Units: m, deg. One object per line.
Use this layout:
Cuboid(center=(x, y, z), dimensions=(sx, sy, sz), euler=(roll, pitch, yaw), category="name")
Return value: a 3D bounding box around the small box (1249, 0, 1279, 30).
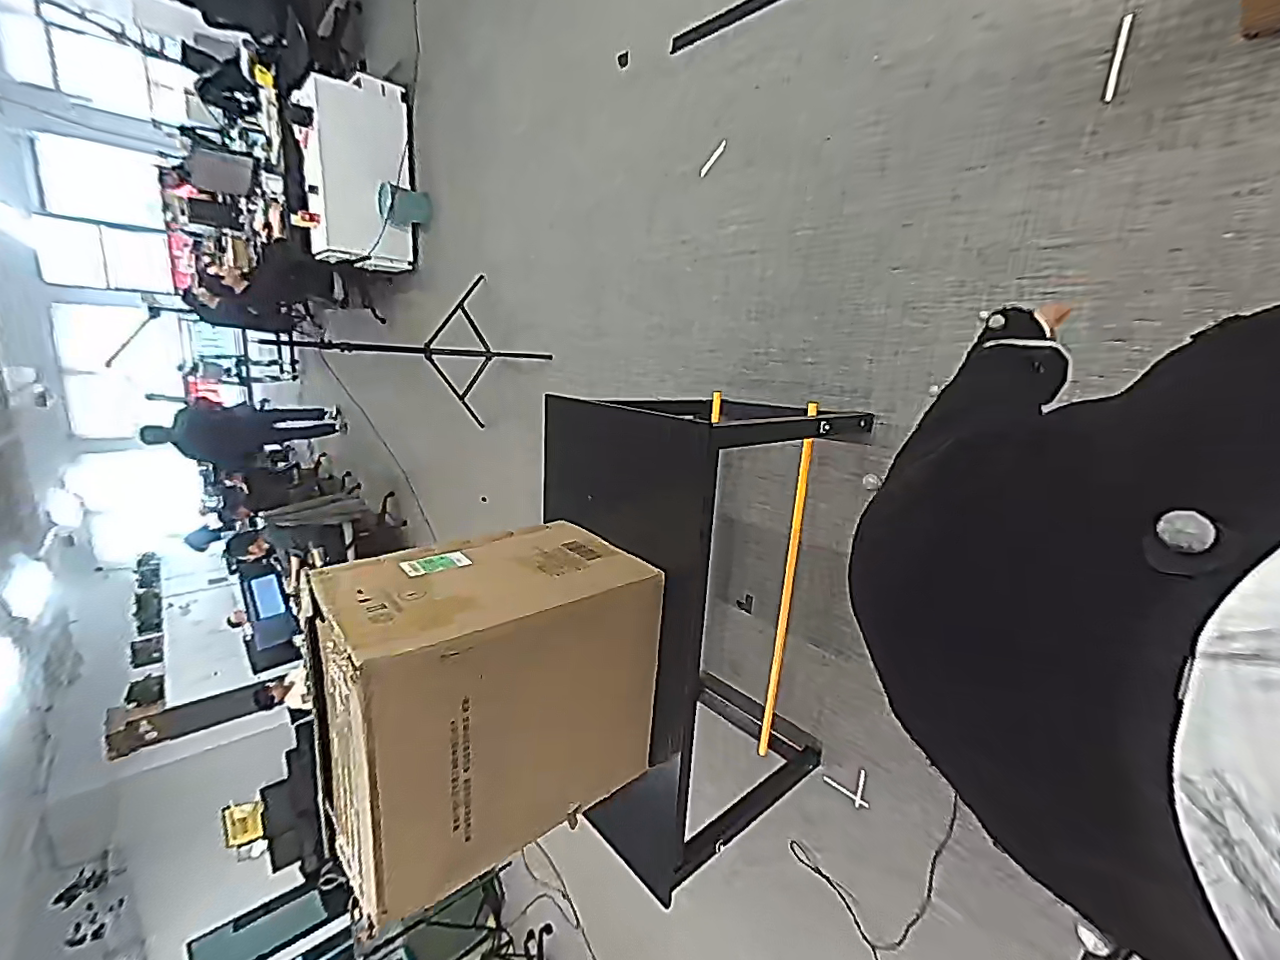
Cuboid(center=(1.075, -0.851, 0.829), dimensions=(0.168, 0.176, 0.179), euler=(16, 110, 48), category="small box")
